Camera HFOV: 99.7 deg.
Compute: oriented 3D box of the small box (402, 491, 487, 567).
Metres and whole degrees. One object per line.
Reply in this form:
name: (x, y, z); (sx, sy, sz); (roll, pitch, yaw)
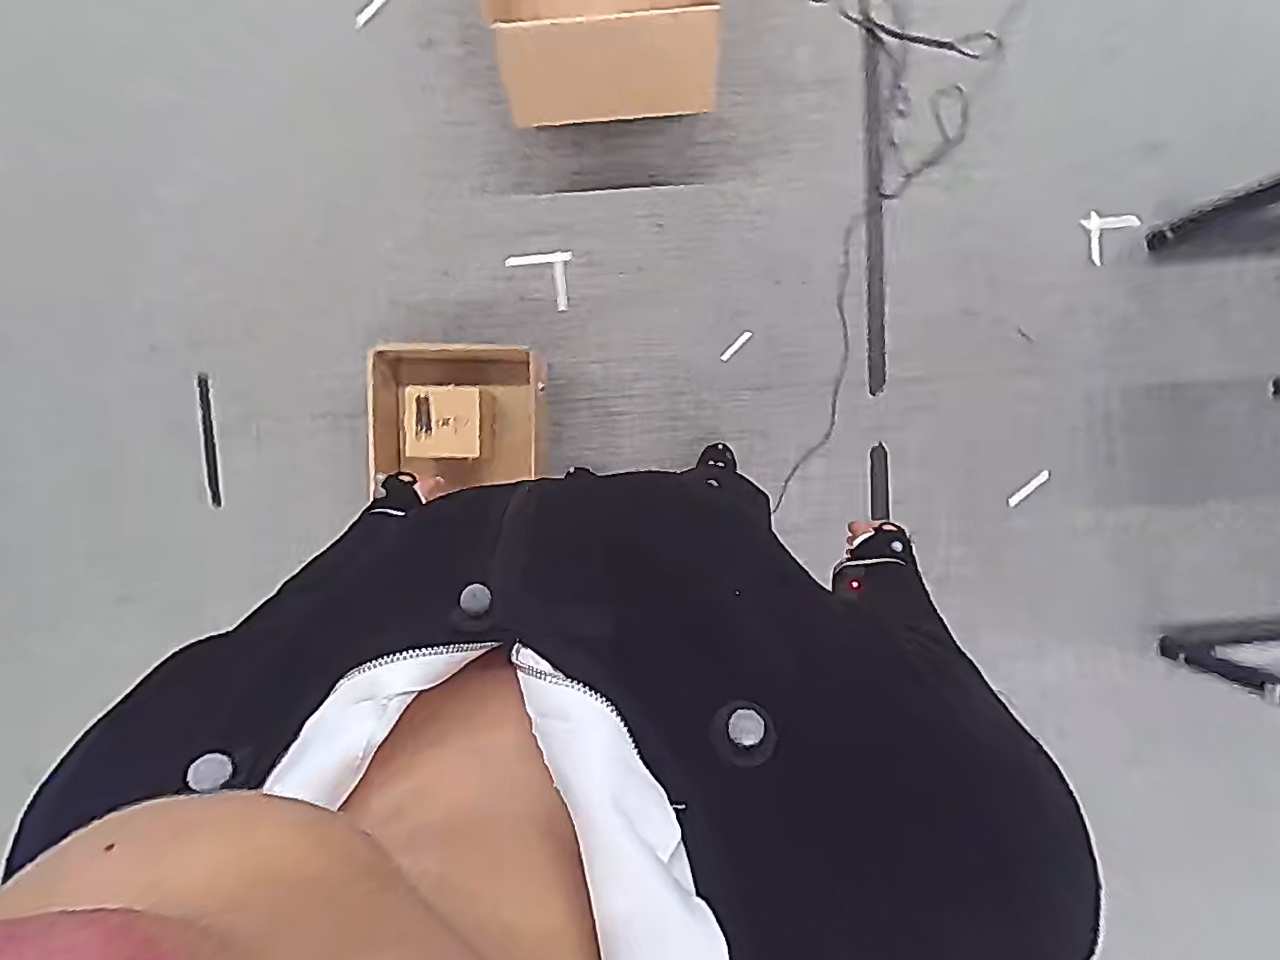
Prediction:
small box: (-0.488, 0.119, 1.370); (0.168, 0.176, 0.179); (1, 91, -3)
